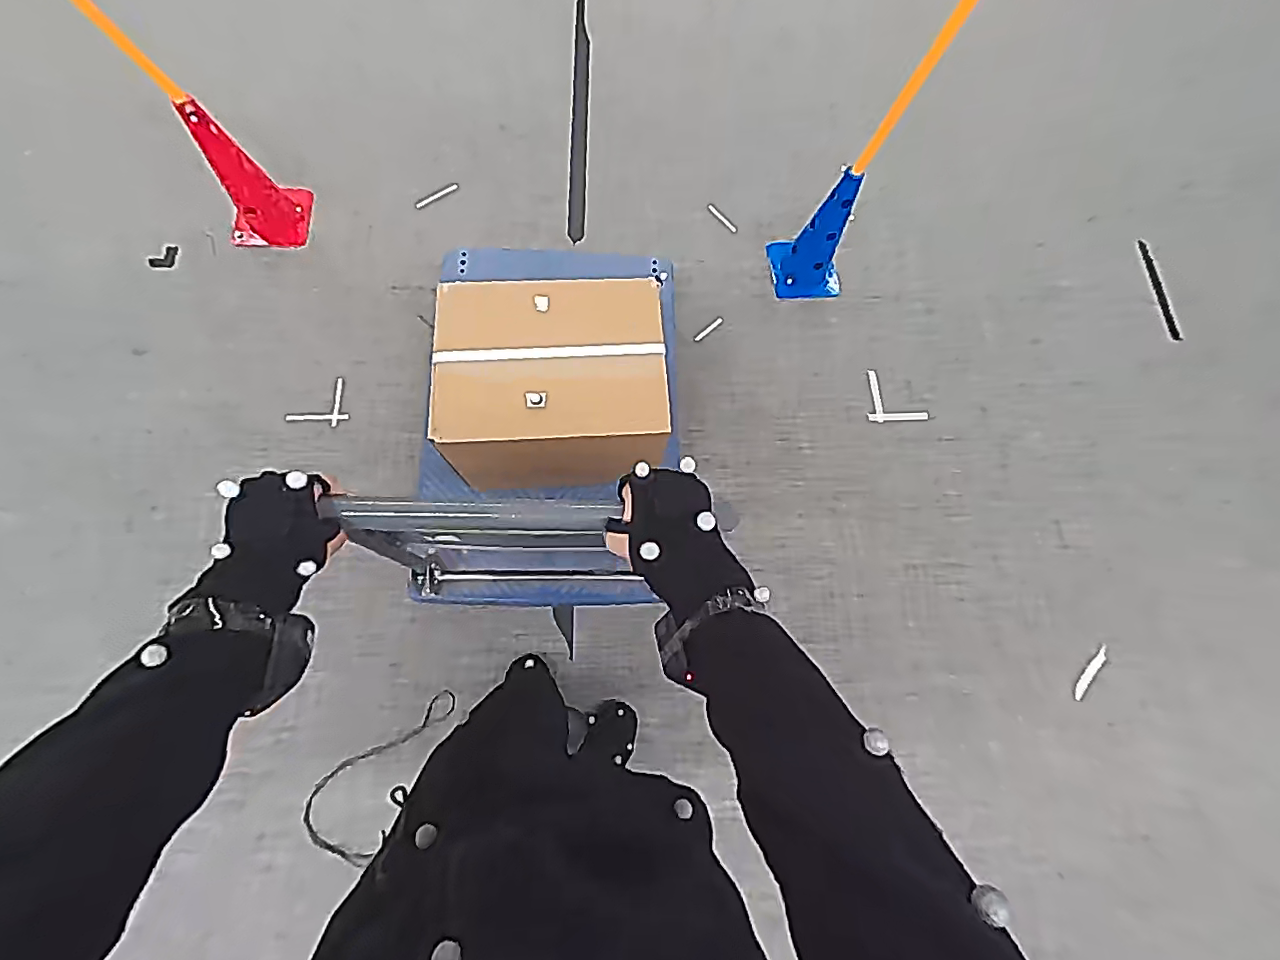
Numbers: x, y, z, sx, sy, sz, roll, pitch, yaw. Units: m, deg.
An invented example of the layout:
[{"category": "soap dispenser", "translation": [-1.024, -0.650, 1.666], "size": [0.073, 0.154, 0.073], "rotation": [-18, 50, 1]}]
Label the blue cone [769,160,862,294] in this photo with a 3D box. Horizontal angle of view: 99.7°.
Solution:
[{"category": "blue cone", "translation": [0.504, -0.688, 1.469], "size": [0.193, 0.380, 0.192], "rotation": [-4, 73, -6]}]
